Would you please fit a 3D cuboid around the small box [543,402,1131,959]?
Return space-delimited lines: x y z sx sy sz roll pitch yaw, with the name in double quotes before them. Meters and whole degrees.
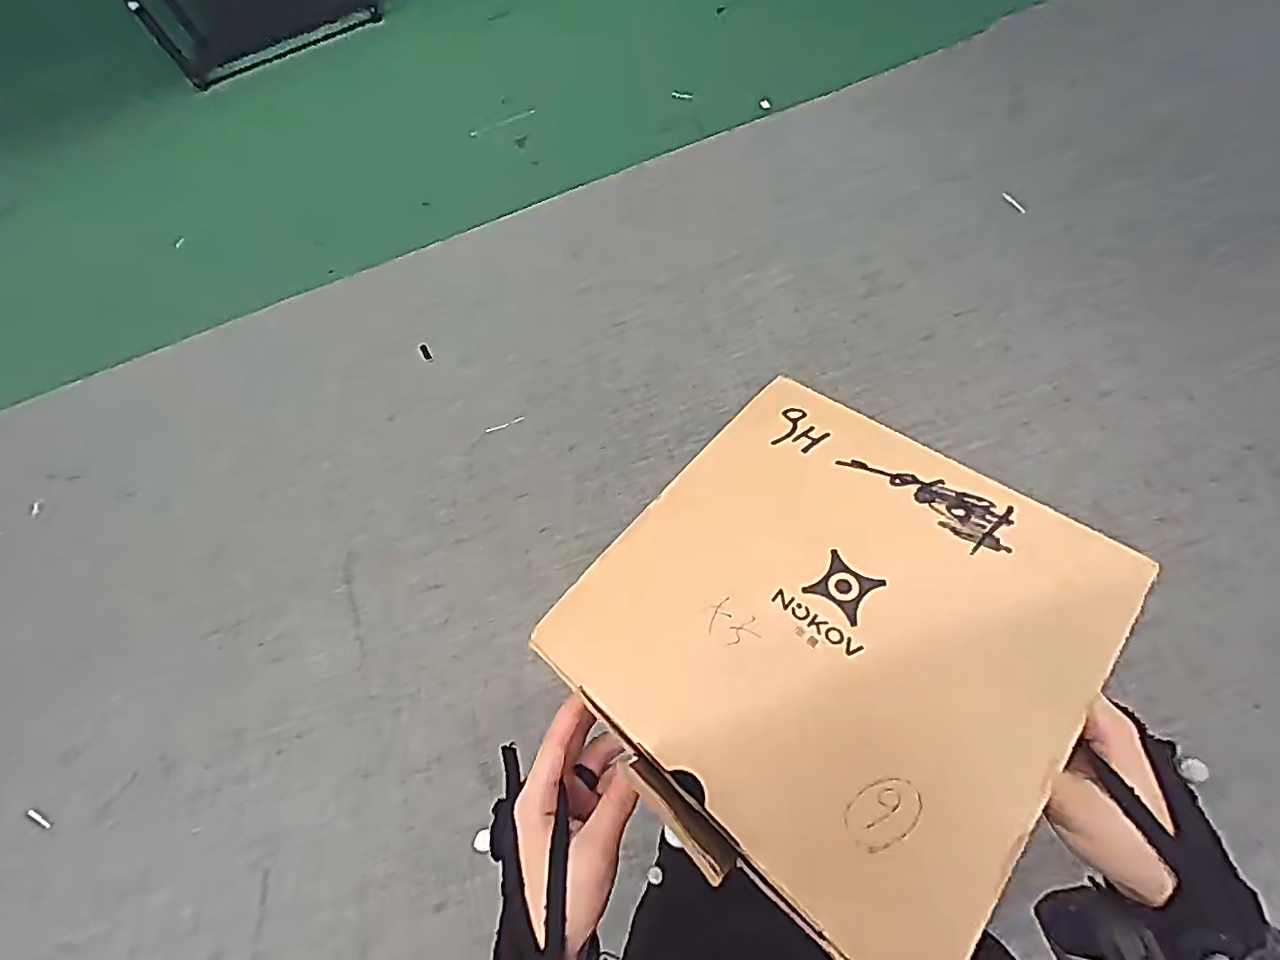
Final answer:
"small box" 0.085 0.100 0.282 0.168 0.176 0.179 35 69 27
